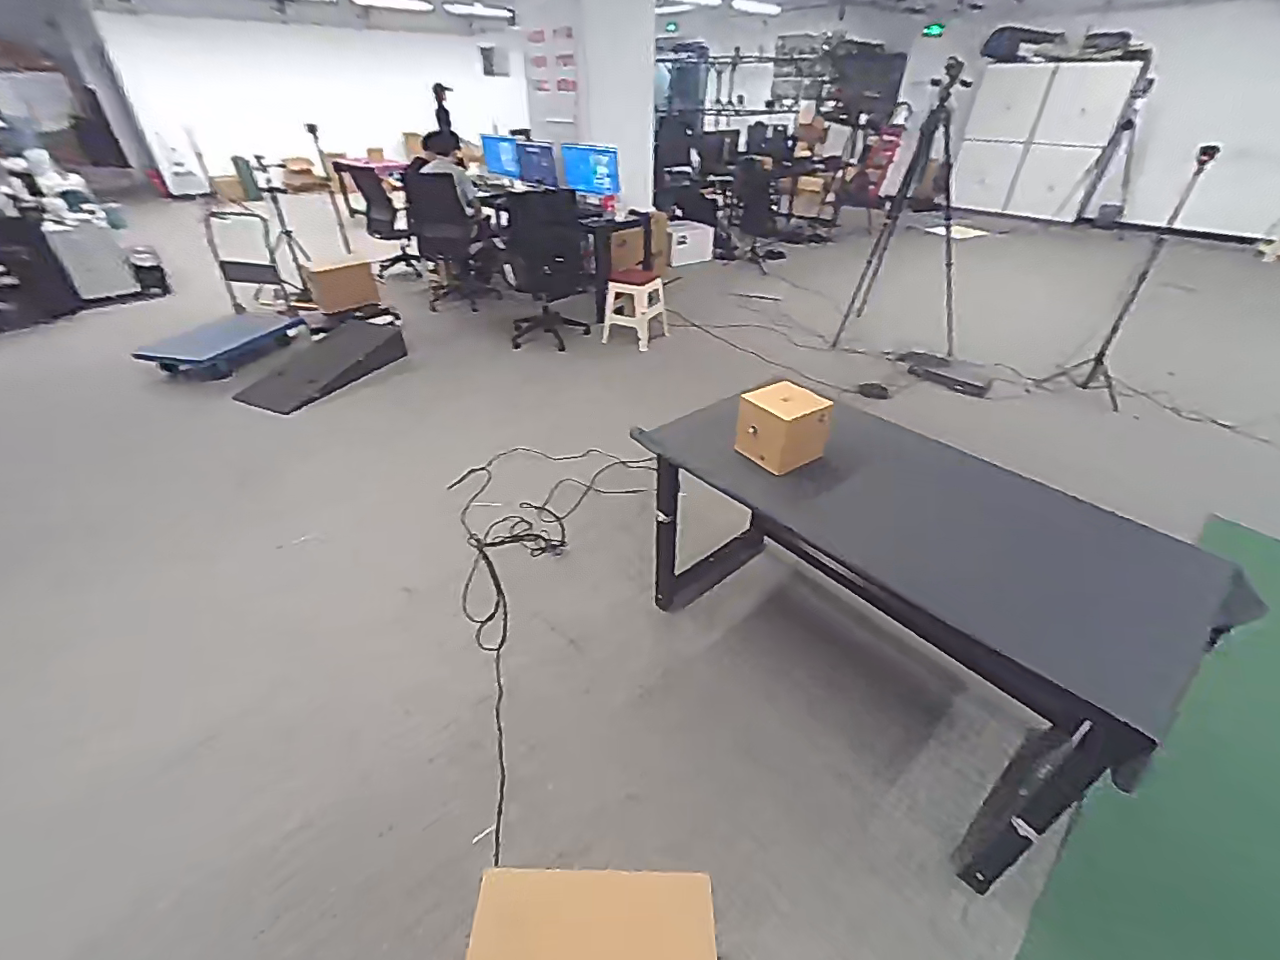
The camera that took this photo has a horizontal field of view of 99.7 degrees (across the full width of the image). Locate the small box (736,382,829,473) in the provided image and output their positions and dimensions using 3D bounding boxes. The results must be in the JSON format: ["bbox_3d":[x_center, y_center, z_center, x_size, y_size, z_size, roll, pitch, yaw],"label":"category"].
[{"bbox_3d":[0.372,-0.140,1.443,0.179,0.176,0.168,-21,41,-29],"label":"small box"}]

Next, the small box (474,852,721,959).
[{"bbox_3d":[-0.033,0.397,0.378,0.168,0.176,0.179,3,37,0],"label":"small box"}]
